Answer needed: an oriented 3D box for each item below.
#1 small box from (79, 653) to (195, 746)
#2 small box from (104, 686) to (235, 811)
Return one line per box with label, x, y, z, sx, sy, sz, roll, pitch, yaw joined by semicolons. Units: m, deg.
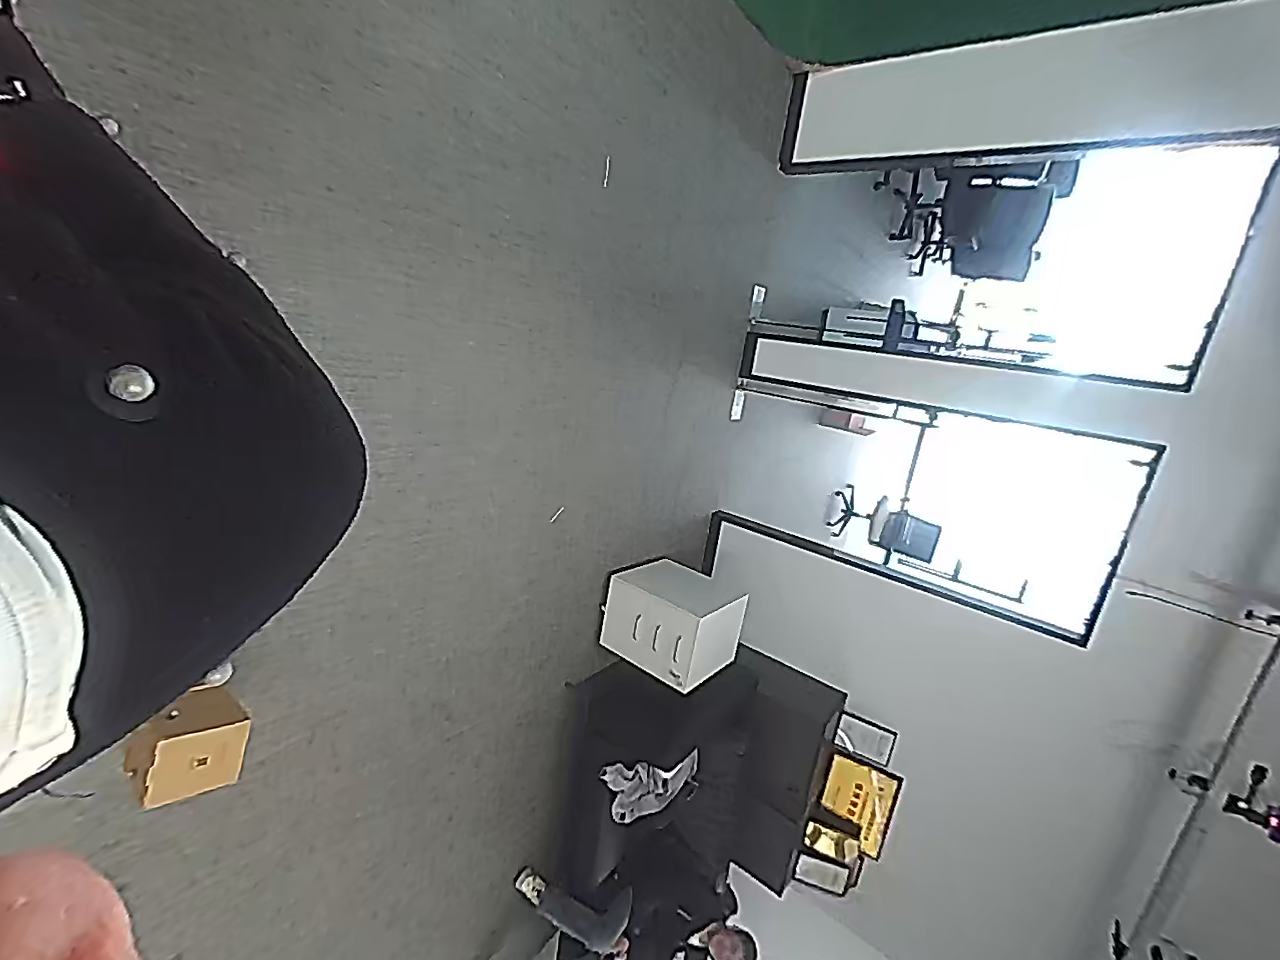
small box;-1.192;0.559;1.316;0.179;0.176;0.168;-39;137;-41
small box;-1.070;0.596;1.227;0.179;0.176;0.168;10;99;-58
